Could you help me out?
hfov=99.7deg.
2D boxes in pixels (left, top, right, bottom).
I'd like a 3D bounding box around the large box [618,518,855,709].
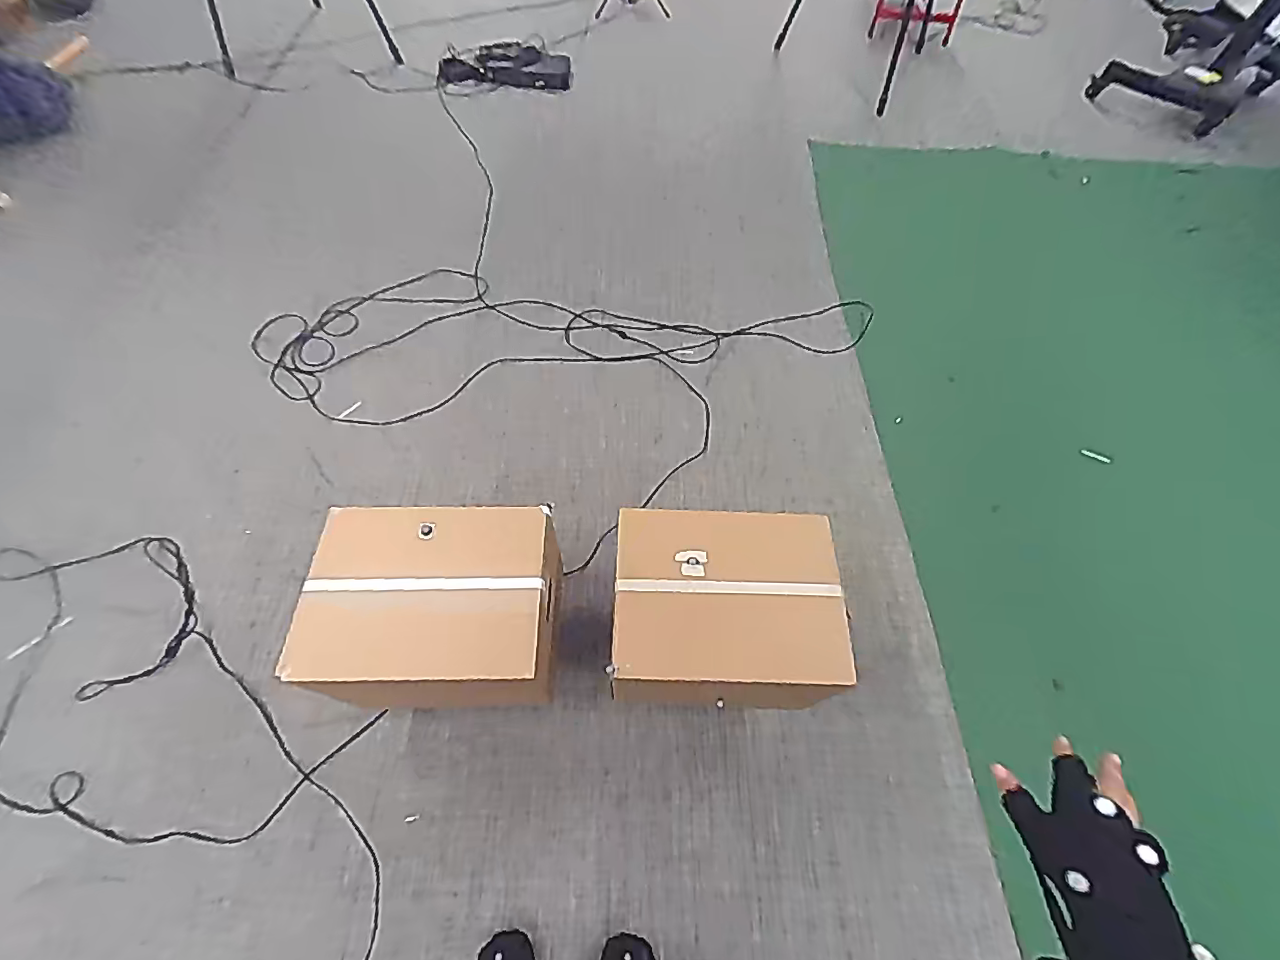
[{"bbox_3d":[0.163,0.285,1.102,0.408,0.320,0.320,2,59,0],"label":"large box"}]
